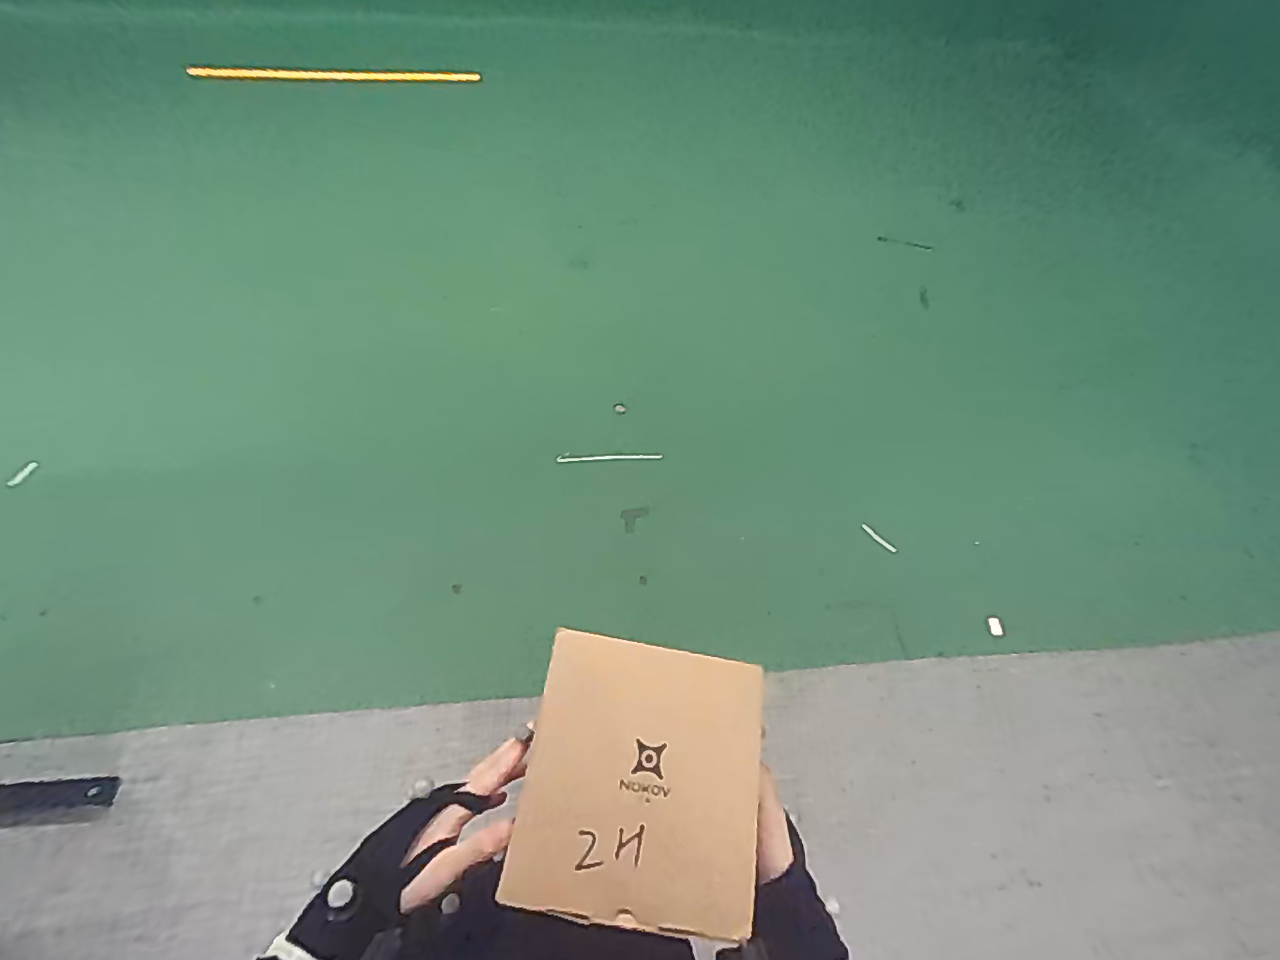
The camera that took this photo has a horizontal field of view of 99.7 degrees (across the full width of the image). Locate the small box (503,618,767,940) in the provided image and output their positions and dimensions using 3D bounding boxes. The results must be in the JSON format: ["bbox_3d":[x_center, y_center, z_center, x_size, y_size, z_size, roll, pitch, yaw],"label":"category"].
[{"bbox_3d":[-0.006,0.236,0.449,0.168,0.176,0.179,13,61,-3],"label":"small box"}]
